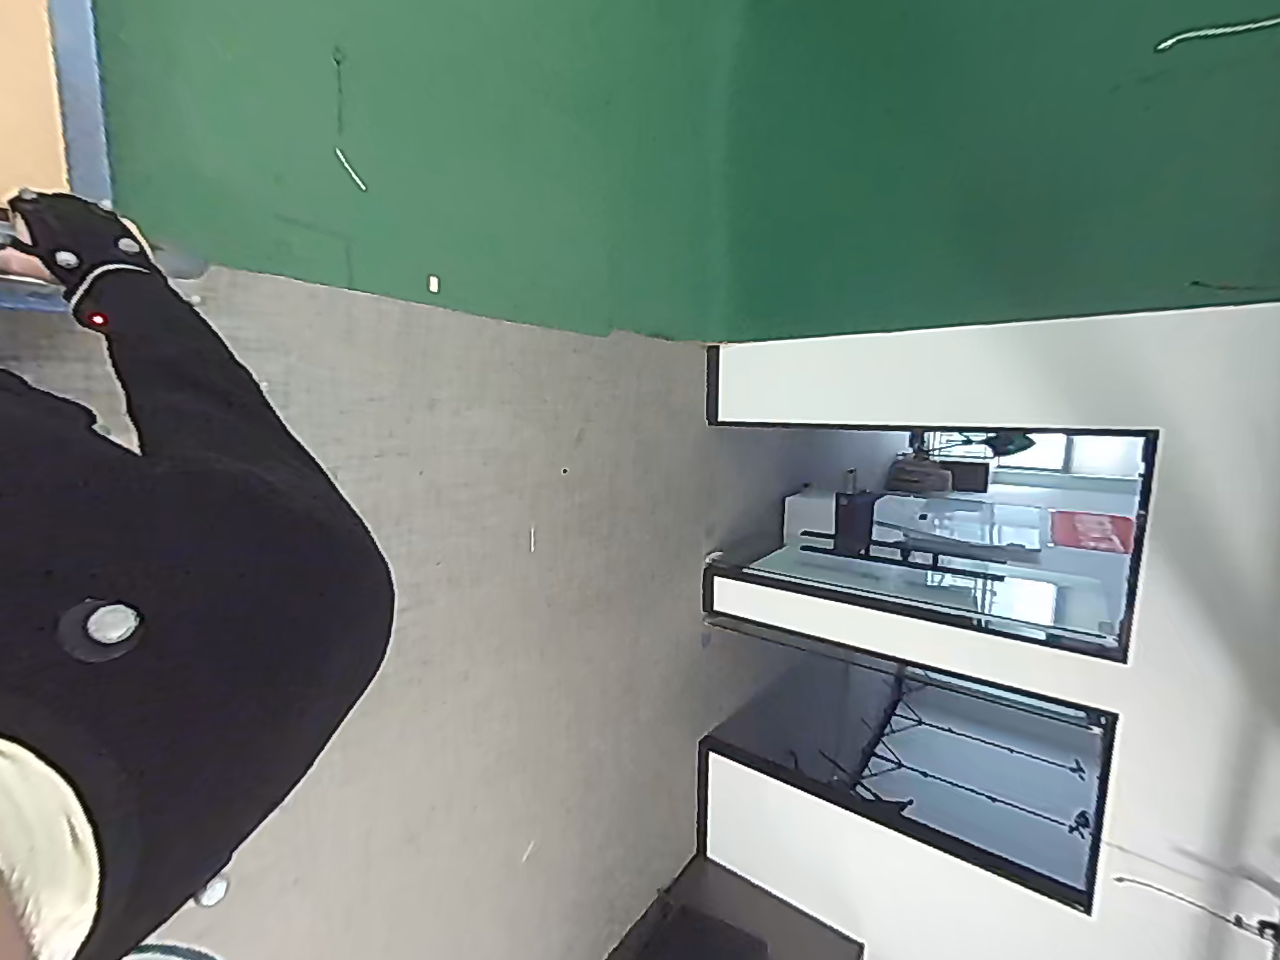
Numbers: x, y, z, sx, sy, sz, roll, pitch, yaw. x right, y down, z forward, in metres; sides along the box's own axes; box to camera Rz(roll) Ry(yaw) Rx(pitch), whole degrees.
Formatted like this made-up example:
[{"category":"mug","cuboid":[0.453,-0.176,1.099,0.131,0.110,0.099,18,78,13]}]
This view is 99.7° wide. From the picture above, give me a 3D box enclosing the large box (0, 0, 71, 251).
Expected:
[{"category":"large box","cuboid":[-1.074,-0.583,0.757,0.320,0.320,0.408,-11,102,-53]}]
